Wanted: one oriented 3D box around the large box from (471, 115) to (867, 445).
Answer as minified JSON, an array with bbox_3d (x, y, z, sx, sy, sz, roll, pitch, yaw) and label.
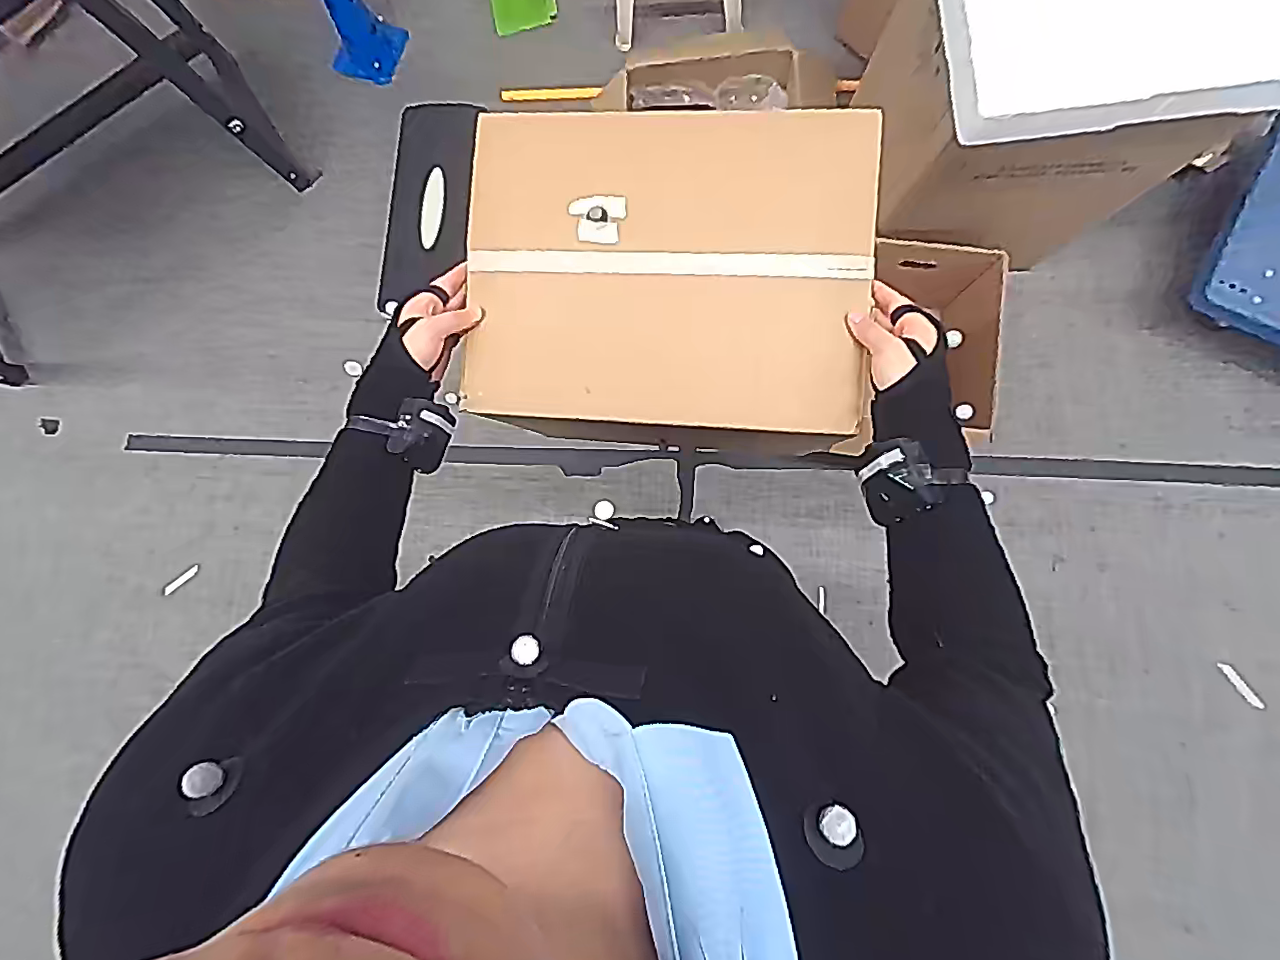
[{"bbox_3d":[0.042,-0.211,0.700,0.408,0.320,0.320,3,88,8],"label":"large box"}]
